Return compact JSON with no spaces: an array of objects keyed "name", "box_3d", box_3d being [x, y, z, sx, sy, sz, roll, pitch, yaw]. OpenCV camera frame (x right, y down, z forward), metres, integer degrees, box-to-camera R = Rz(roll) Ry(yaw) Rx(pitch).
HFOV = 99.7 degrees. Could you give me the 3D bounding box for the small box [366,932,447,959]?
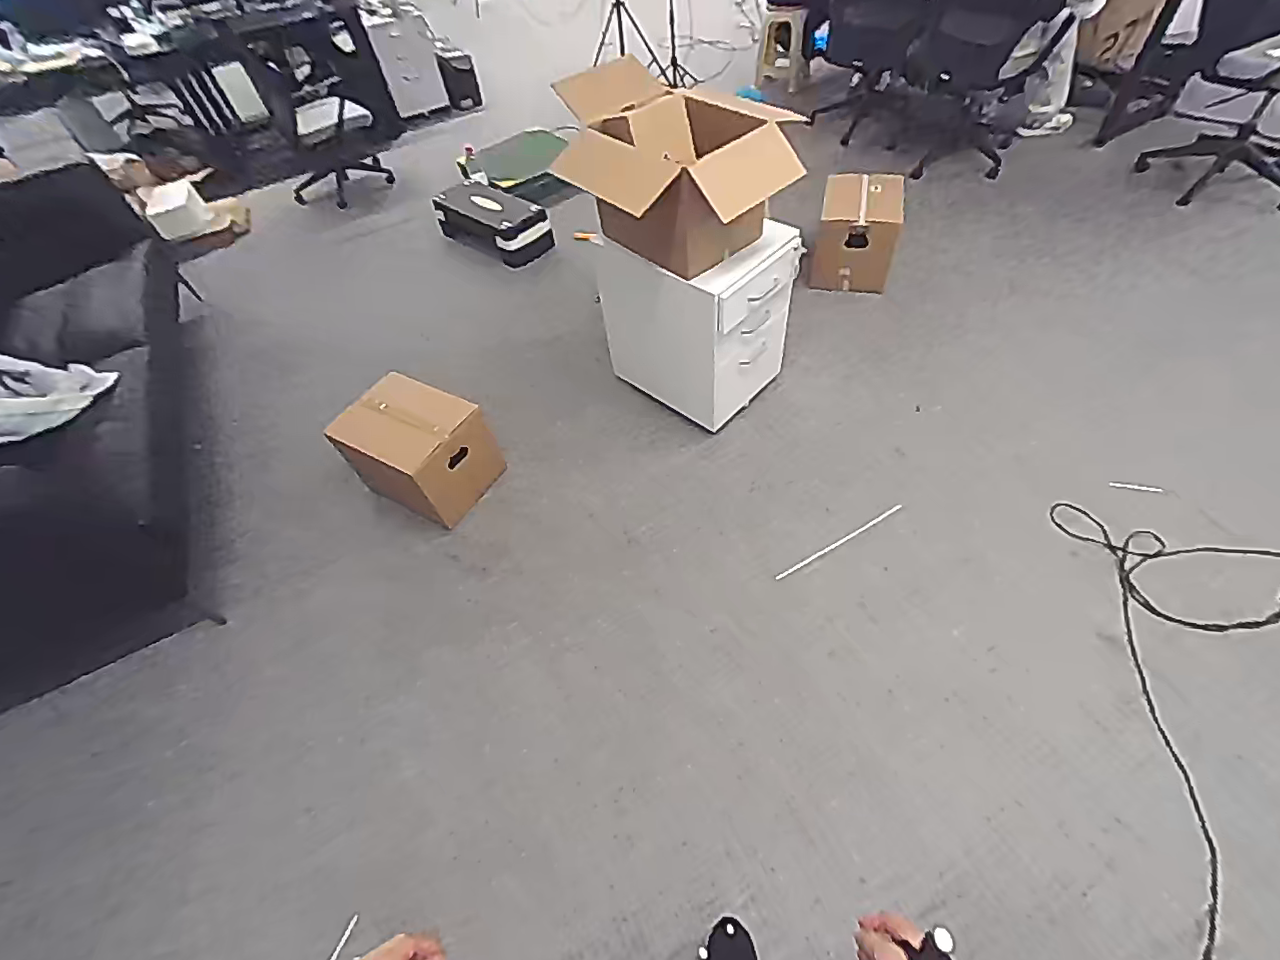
[{"name":"small box","box_3d":[-0.482,1.020,1.046,0.179,0.176,0.168,-26,55,-13]}]
